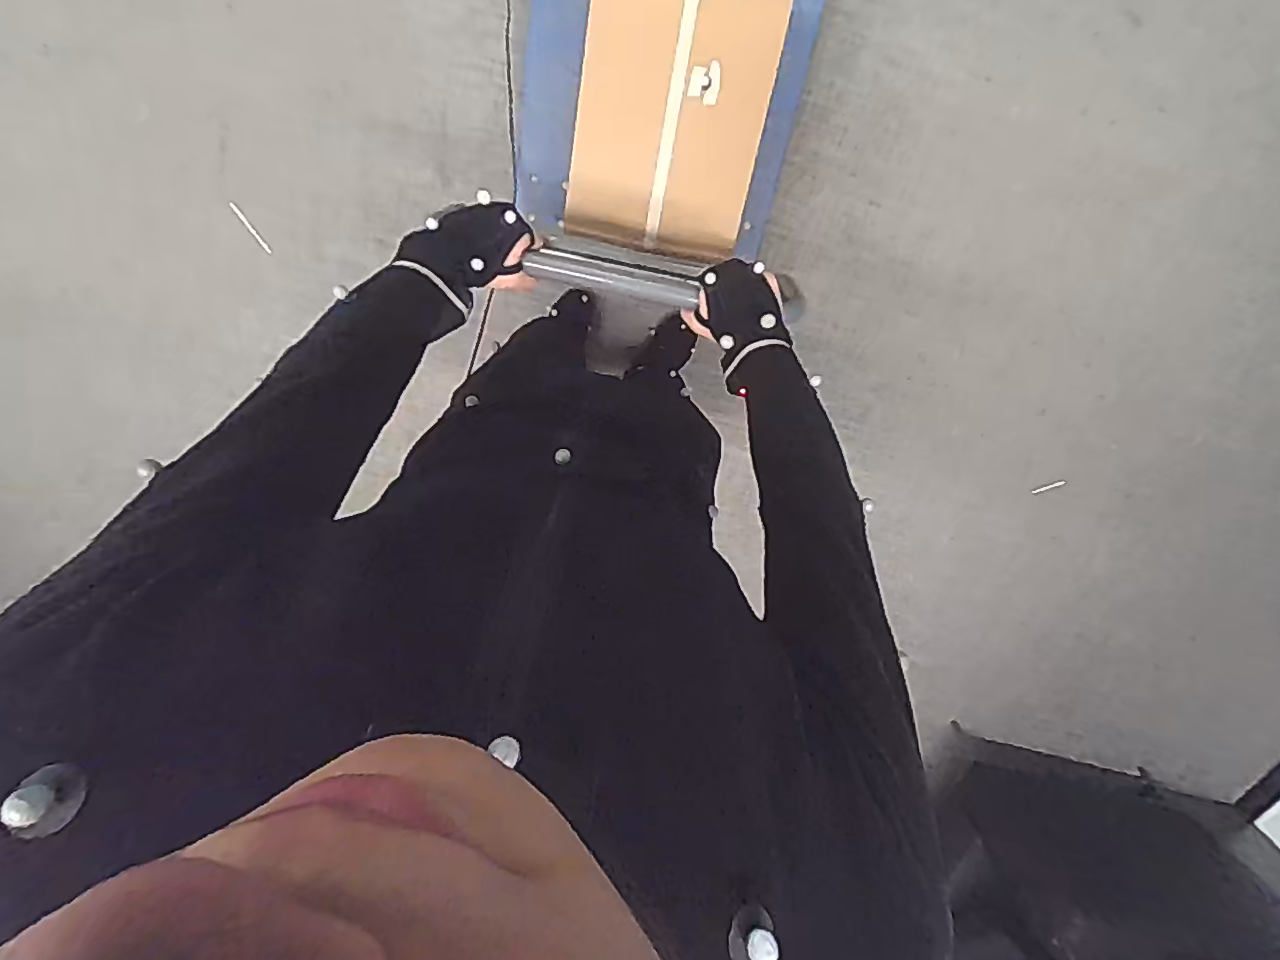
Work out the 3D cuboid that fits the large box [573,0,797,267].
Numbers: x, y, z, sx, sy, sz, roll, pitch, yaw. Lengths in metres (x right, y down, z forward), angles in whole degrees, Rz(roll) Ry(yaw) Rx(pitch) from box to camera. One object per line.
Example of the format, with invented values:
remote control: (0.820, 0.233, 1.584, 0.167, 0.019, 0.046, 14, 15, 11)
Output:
large box: (0.067, -0.647, 1.037, 0.320, 0.320, 0.408, 10, 113, -3)
